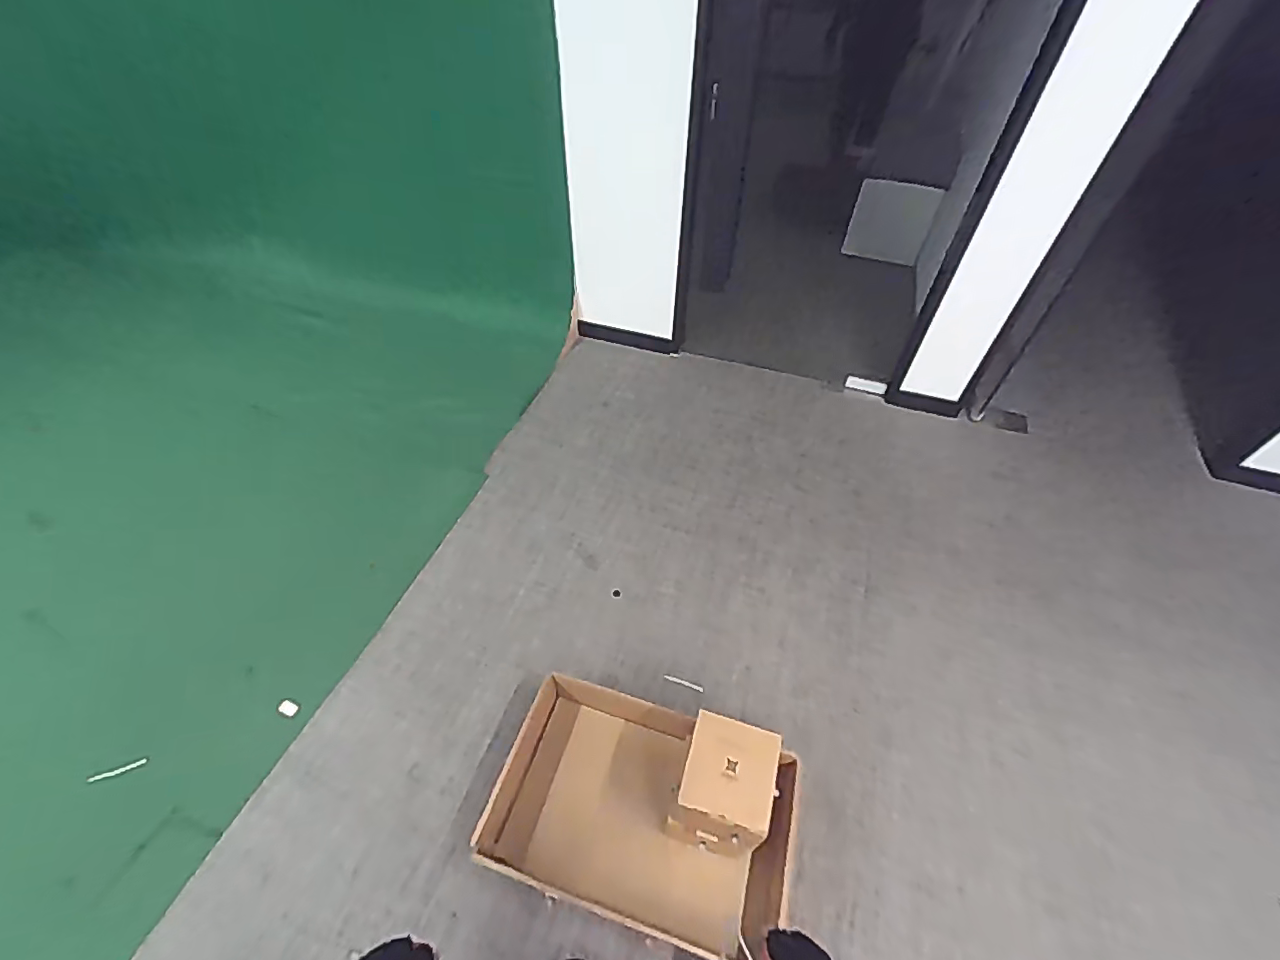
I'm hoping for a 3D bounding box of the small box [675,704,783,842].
[{"bbox_3d":[0.167,0.571,1.047,0.168,0.176,0.179,14,50,11],"label":"small box"}]

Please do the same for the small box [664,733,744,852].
[{"bbox_3d":[0.151,0.689,1.186,0.168,0.176,0.179,10,49,10],"label":"small box"}]
